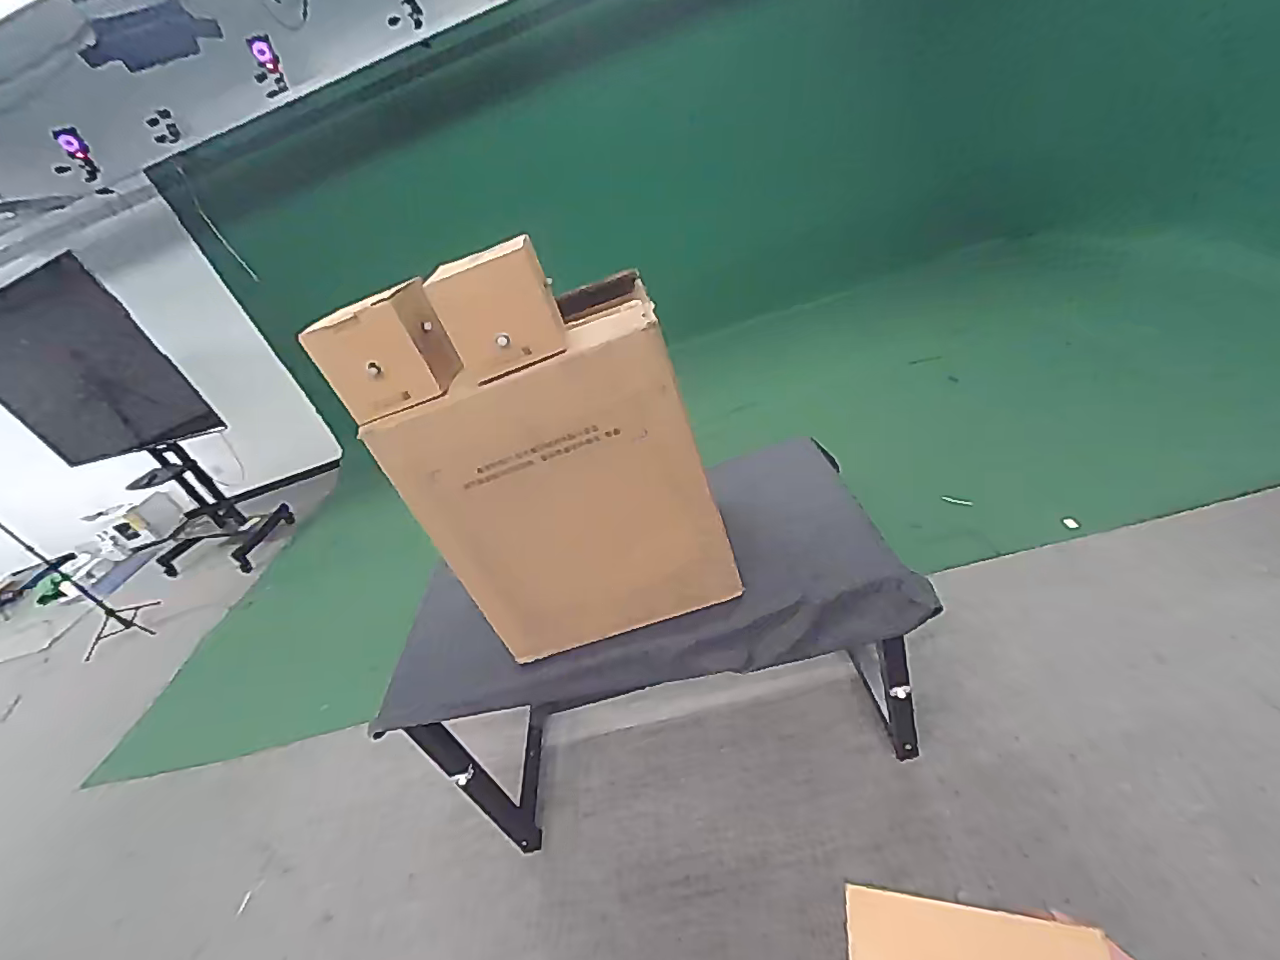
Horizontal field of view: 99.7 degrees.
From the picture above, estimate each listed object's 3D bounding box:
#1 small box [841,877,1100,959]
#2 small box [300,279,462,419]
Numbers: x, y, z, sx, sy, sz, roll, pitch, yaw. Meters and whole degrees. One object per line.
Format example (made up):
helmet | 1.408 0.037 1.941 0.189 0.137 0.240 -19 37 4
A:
small box | 0.248 0.428 0.409 0.168 0.176 0.179 -5 49 20
small box | -0.436 -0.224 0.946 0.168 0.176 0.179 -19 31 7
